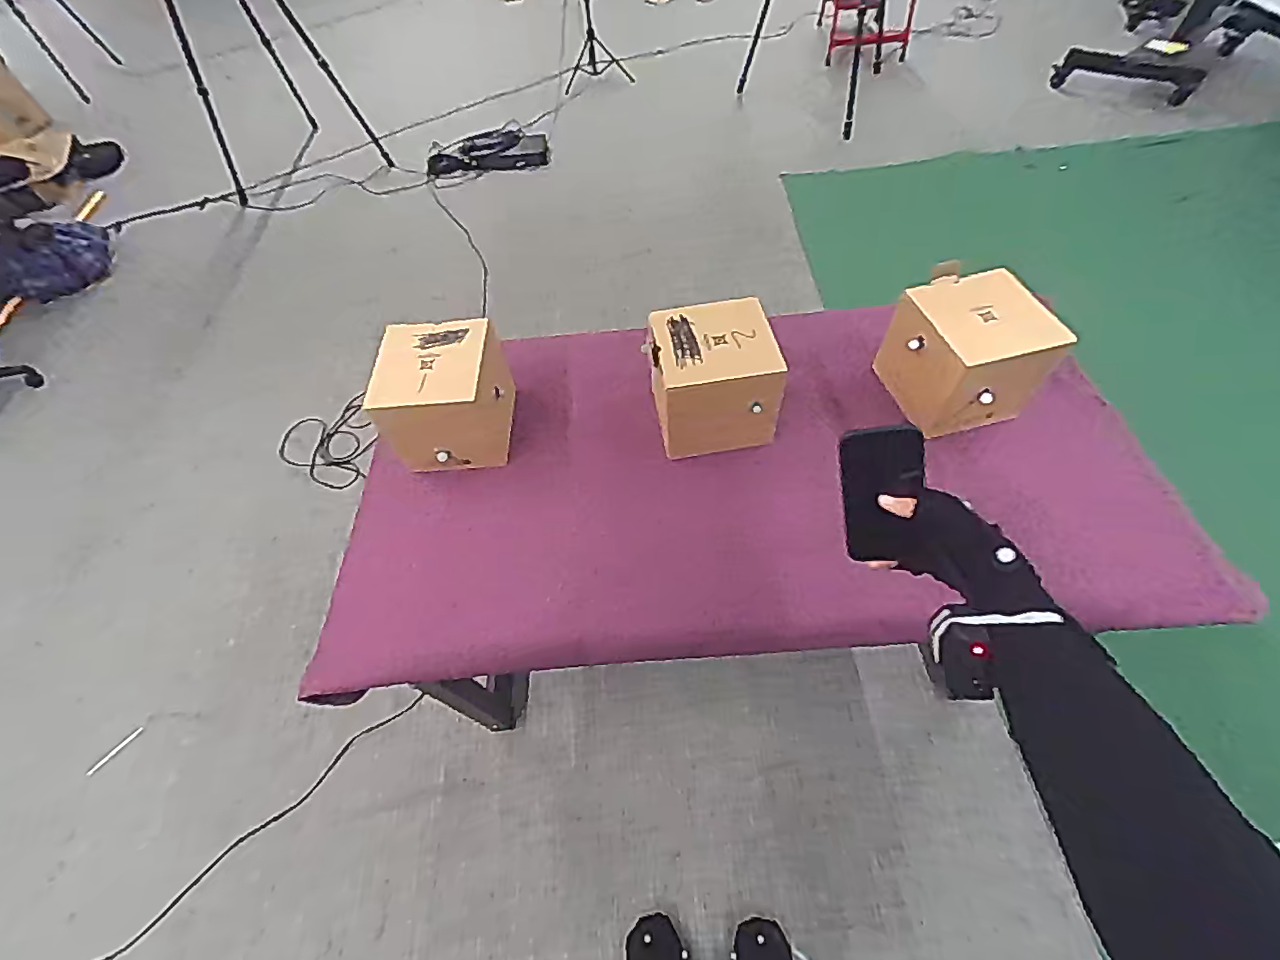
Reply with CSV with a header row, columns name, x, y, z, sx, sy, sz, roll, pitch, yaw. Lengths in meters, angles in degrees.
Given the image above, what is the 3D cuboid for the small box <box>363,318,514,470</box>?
name,x,y,z,sx,sy,sz,roll,pitch,yaw
small box,-0.308,-0.135,0.873,0.168,0.176,0.179,-4,58,2

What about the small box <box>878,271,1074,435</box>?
name,x,y,z,sx,sy,sz,roll,pitch,yaw
small box,0.504,-0.189,0.844,0.168,0.176,0.179,-13,56,-3
